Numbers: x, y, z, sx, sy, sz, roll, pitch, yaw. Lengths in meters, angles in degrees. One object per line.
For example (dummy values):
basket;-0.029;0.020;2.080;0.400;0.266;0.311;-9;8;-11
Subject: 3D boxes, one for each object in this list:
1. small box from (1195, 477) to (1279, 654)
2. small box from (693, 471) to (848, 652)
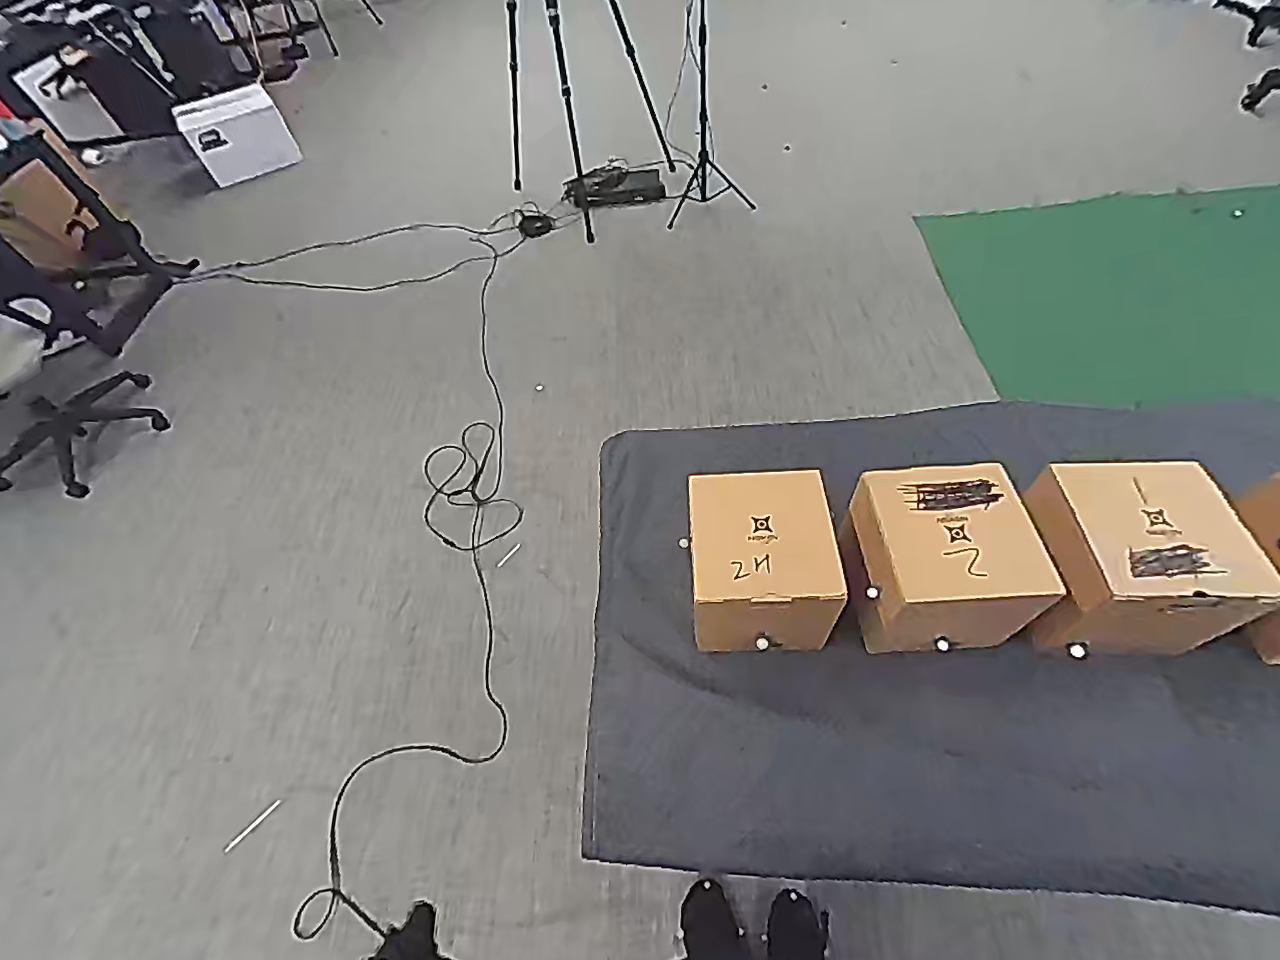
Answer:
small box;0.820;0.102;0.617;0.168;0.176;0.179;-3;54;6
small box;0.152;0.108;0.698;0.168;0.176;0.179;-3;54;5
